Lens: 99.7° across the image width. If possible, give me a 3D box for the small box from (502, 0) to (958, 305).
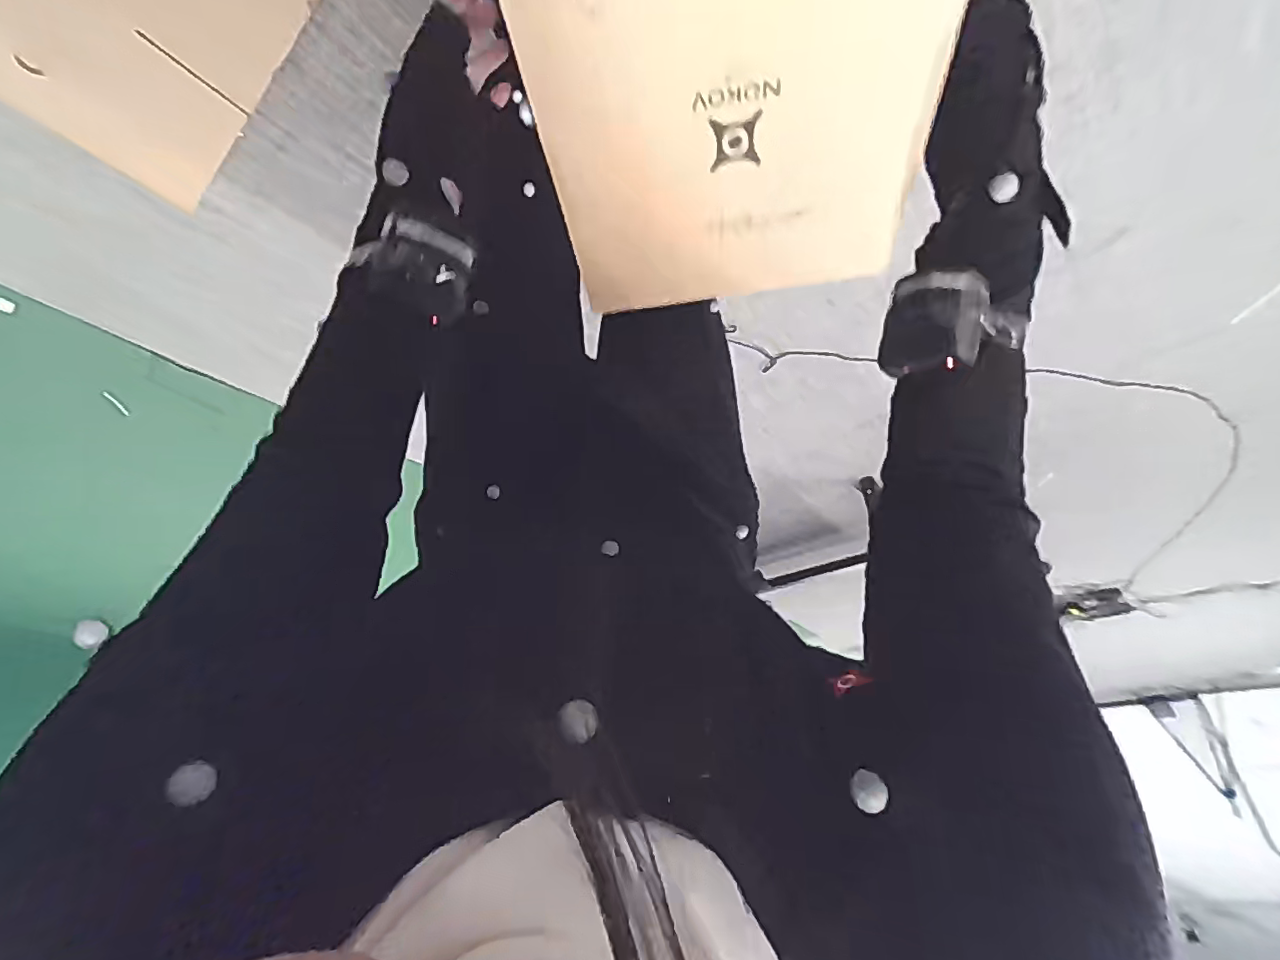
[{"bbox_3d":[0.036,-0.221,0.269,0.168,0.176,0.179,-5,149,7],"label":"small box"}]
